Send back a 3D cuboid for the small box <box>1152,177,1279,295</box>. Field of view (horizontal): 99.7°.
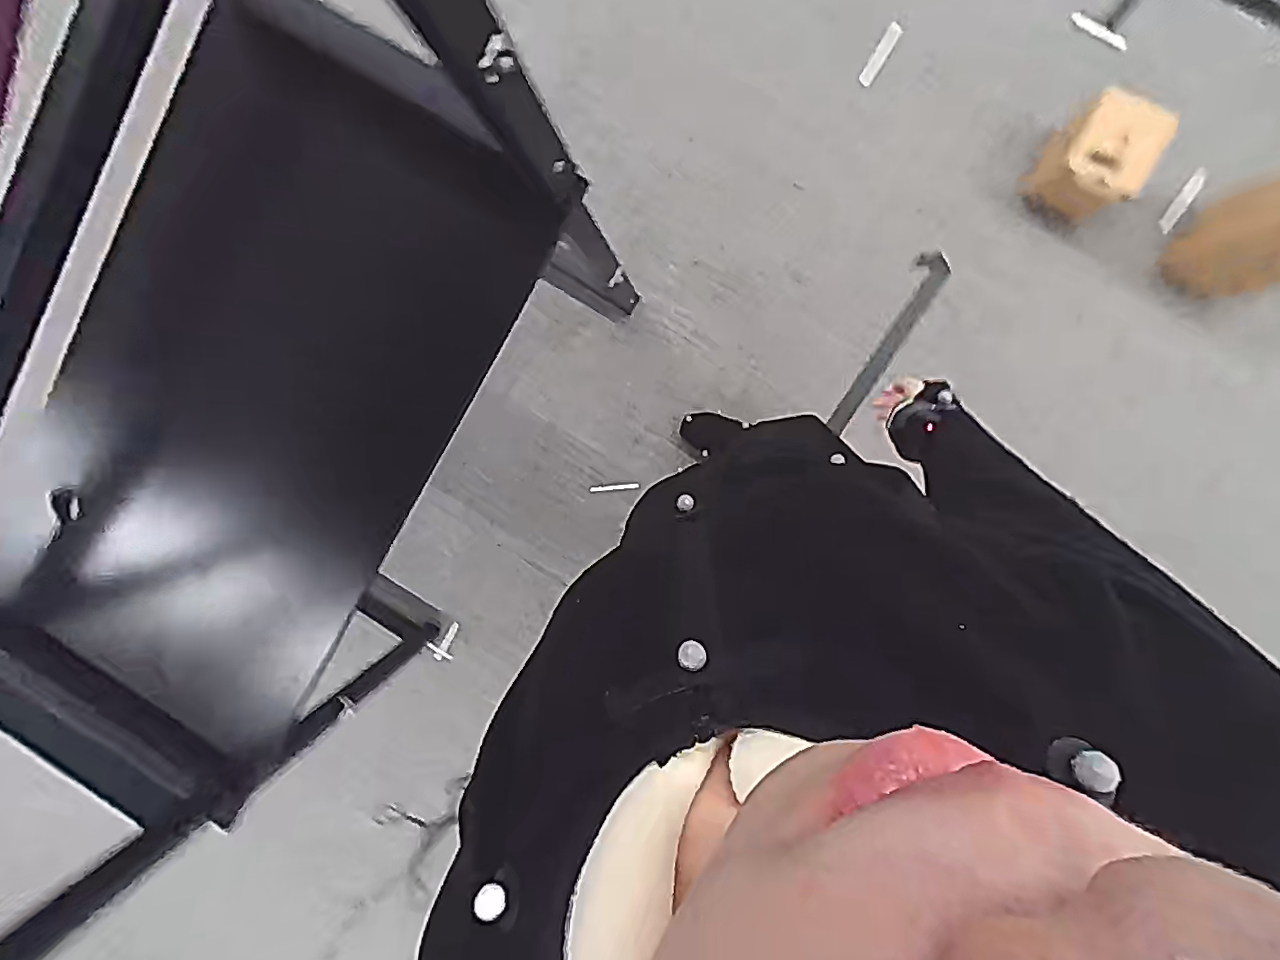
[{"bbox_3d":[1.340,-0.538,1.216,0.179,0.176,0.168,34,98,2],"label":"small box"}]

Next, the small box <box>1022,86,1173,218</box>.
[{"bbox_3d":[1.016,-0.729,1.225,0.168,0.176,0.179,26,98,2],"label":"small box"}]
